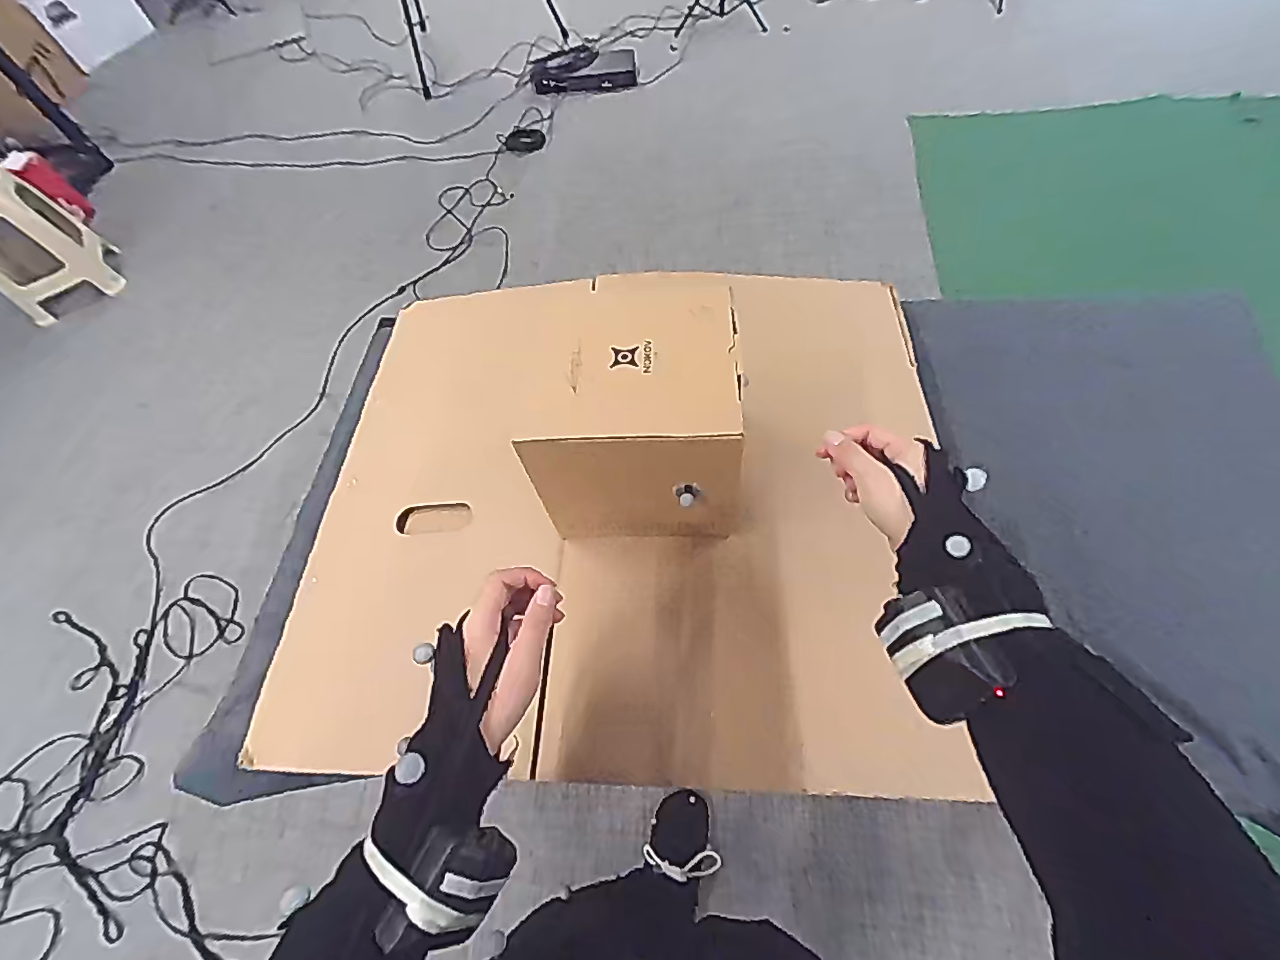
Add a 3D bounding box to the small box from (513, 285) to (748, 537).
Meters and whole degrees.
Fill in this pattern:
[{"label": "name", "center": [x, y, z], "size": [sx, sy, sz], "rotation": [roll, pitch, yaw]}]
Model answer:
[{"label": "small box", "center": [0.001, -0.055, 0.504], "size": [0.179, 0.176, 0.168], "rotation": [-2, 58, 6]}]
